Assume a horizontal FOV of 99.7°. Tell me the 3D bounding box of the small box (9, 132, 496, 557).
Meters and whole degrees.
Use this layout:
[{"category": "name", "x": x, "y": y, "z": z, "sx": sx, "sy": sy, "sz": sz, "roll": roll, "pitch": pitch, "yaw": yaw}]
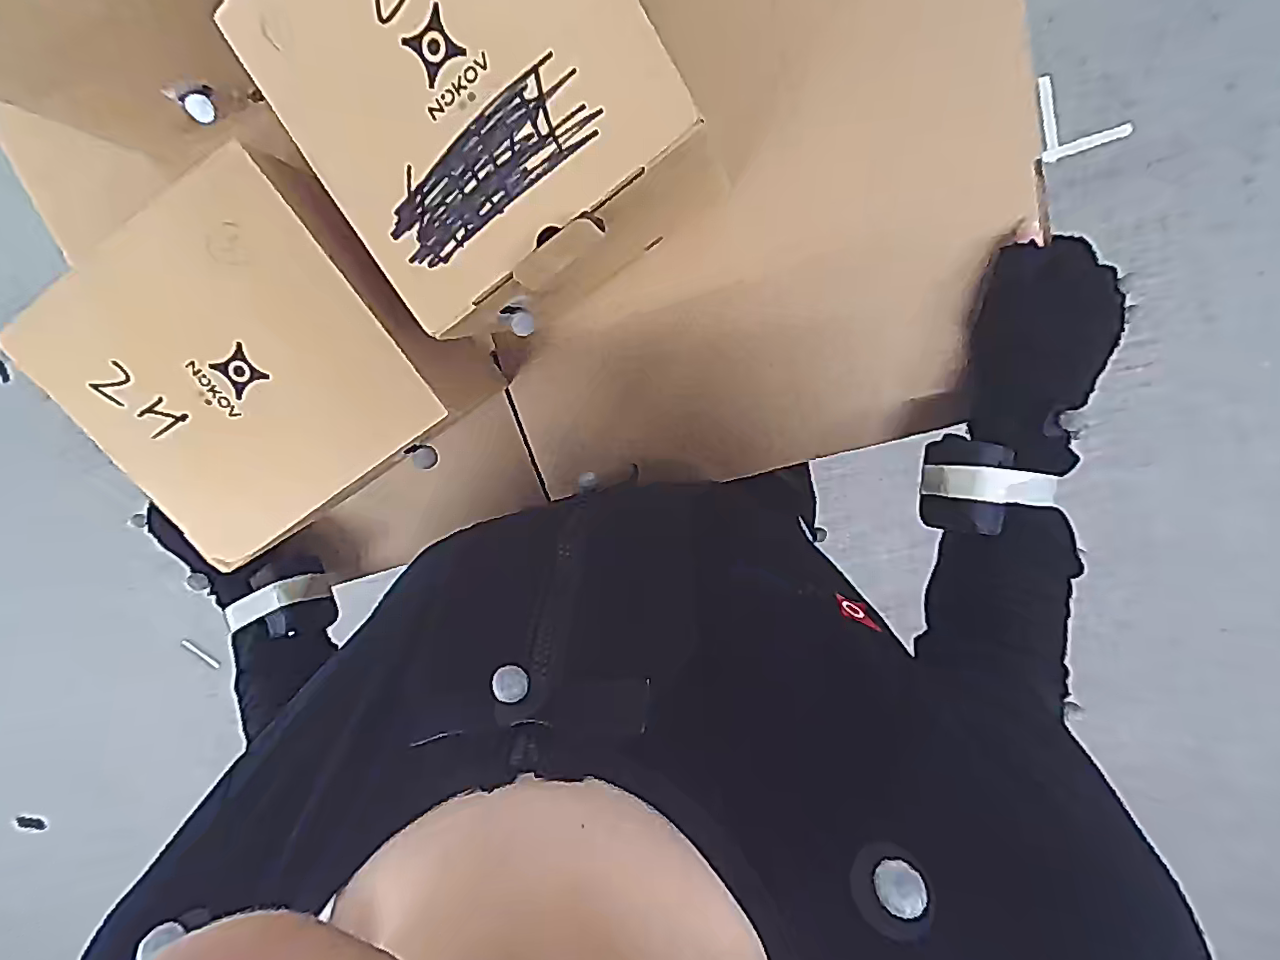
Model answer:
[{"category": "small box", "x": -0.219, "y": -0.085, "z": 0.369, "sx": 0.179, "sy": 0.176, "sz": 0.168, "roll": -32, "pitch": 104, "yaw": 8}]
